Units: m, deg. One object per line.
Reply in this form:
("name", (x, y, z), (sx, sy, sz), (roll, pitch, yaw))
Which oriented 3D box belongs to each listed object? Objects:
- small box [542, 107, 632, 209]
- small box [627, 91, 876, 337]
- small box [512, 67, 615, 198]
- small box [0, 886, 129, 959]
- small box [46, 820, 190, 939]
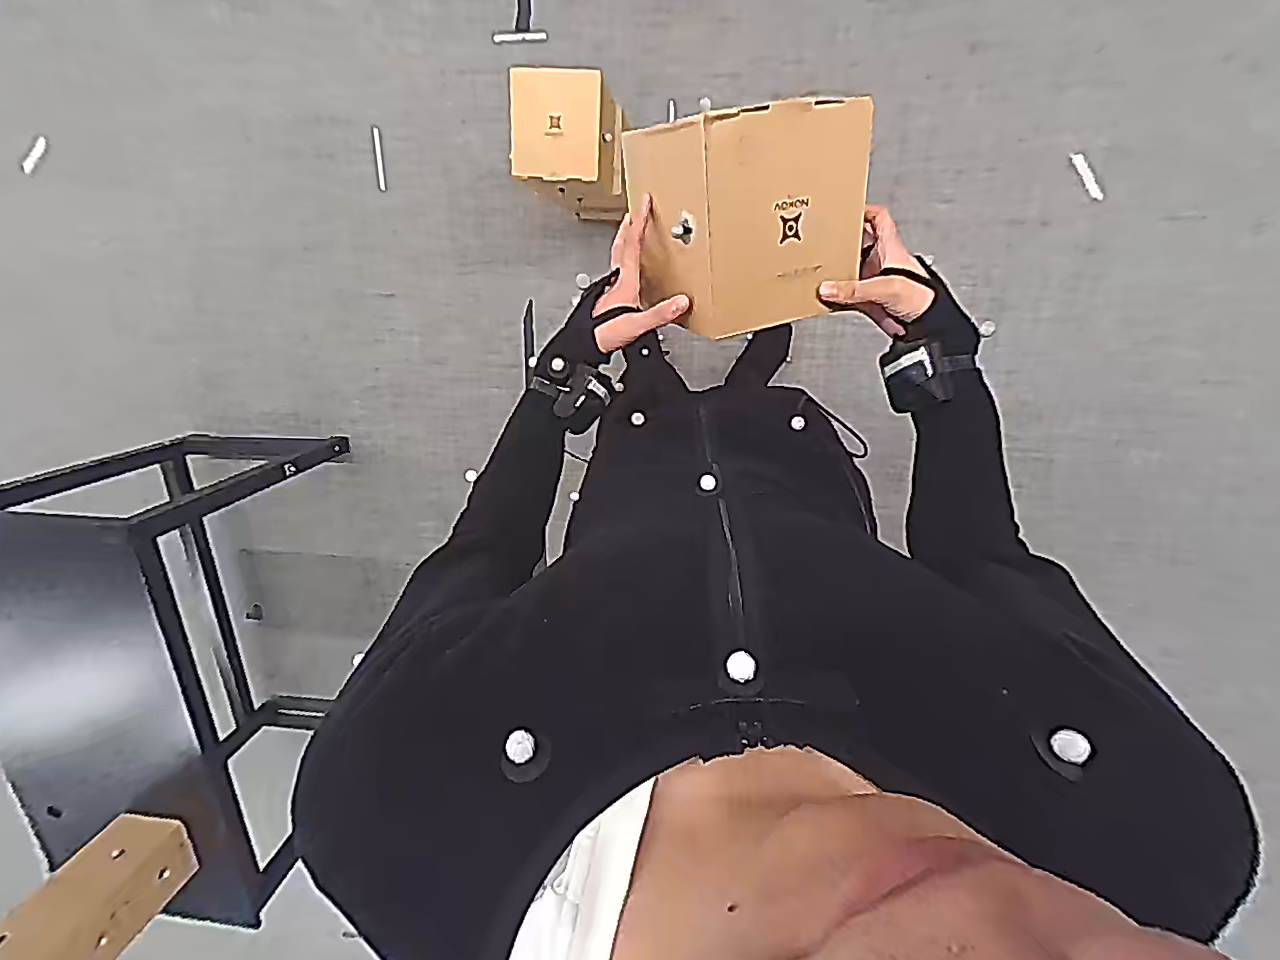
("small box", (-0.114, -0.703, 1.197), (0.179, 0.176, 0.168), (3, 109, 5))
("small box", (0.097, -0.256, 0.527), (0.168, 0.176, 0.179), (-18, 122, -18))
("small box", (-0.142, -0.659, 1.043), (0.168, 0.176, 0.179), (5, 110, 5))
("small box", (-1.266, 1.011, 1.153), (0.179, 0.176, 0.168), (2, 109, 7))
("small box", (-1.244, 0.959, 1.308), (0.179, 0.176, 0.168), (1, 108, 6))
